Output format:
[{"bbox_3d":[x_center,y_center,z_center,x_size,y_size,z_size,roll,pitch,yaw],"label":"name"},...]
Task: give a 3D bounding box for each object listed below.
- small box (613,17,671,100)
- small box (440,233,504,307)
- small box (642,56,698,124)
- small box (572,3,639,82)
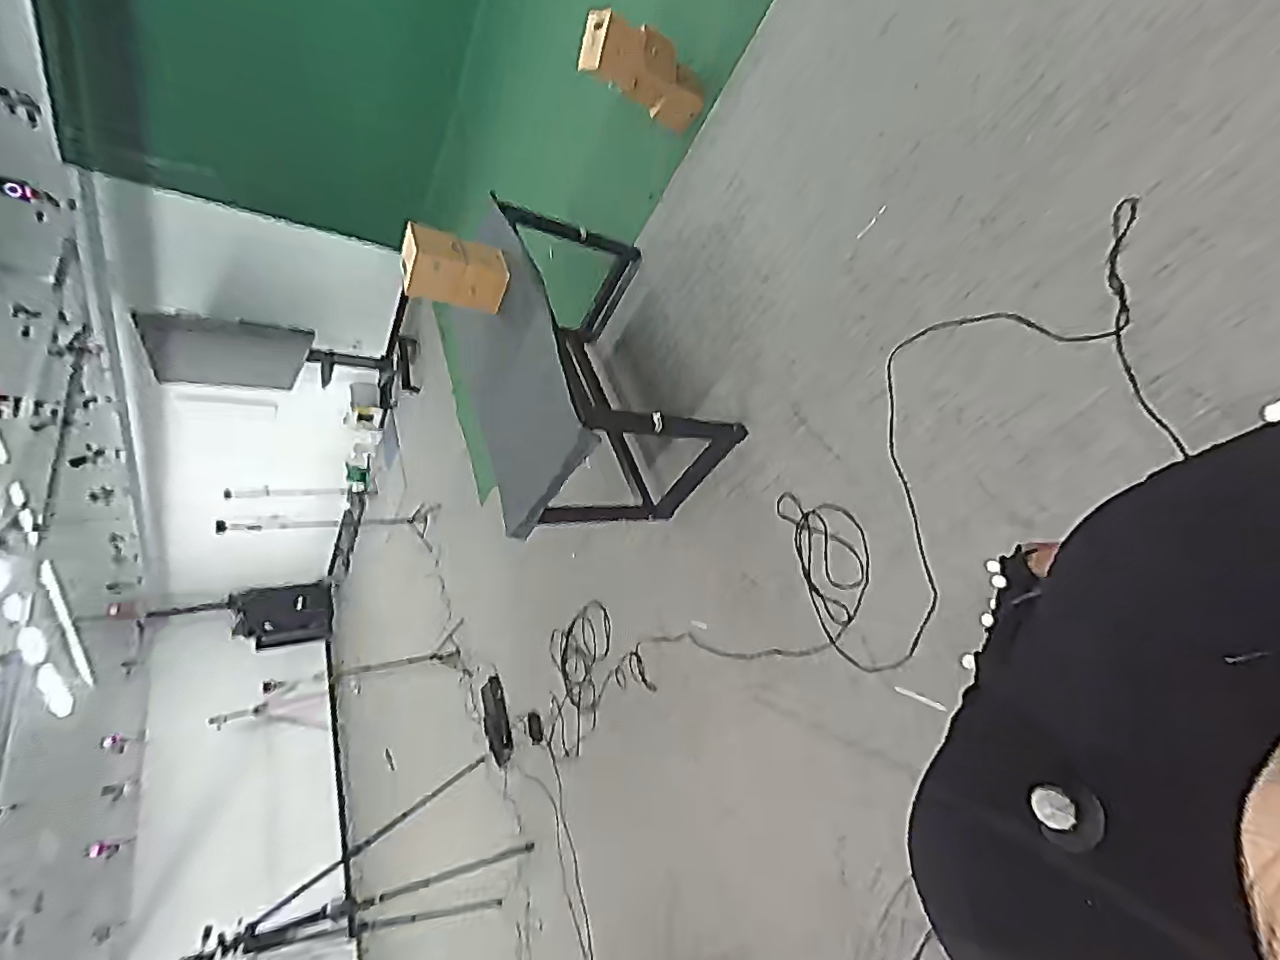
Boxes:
[{"bbox_3d":[0.009,-1.632,2.112,0.168,0.176,0.179,1,90,50],"label":"small box"},{"bbox_3d":[-0.613,-0.766,1.981,0.179,0.176,0.168,-51,52,40],"label":"small box"},{"bbox_3d":[0.118,-1.618,2.235,0.168,0.176,0.179,-30,66,47],"label":"small box"},{"bbox_3d":[-0.125,-1.628,2.016,0.168,0.176,0.179,43,123,42],"label":"small box"}]
